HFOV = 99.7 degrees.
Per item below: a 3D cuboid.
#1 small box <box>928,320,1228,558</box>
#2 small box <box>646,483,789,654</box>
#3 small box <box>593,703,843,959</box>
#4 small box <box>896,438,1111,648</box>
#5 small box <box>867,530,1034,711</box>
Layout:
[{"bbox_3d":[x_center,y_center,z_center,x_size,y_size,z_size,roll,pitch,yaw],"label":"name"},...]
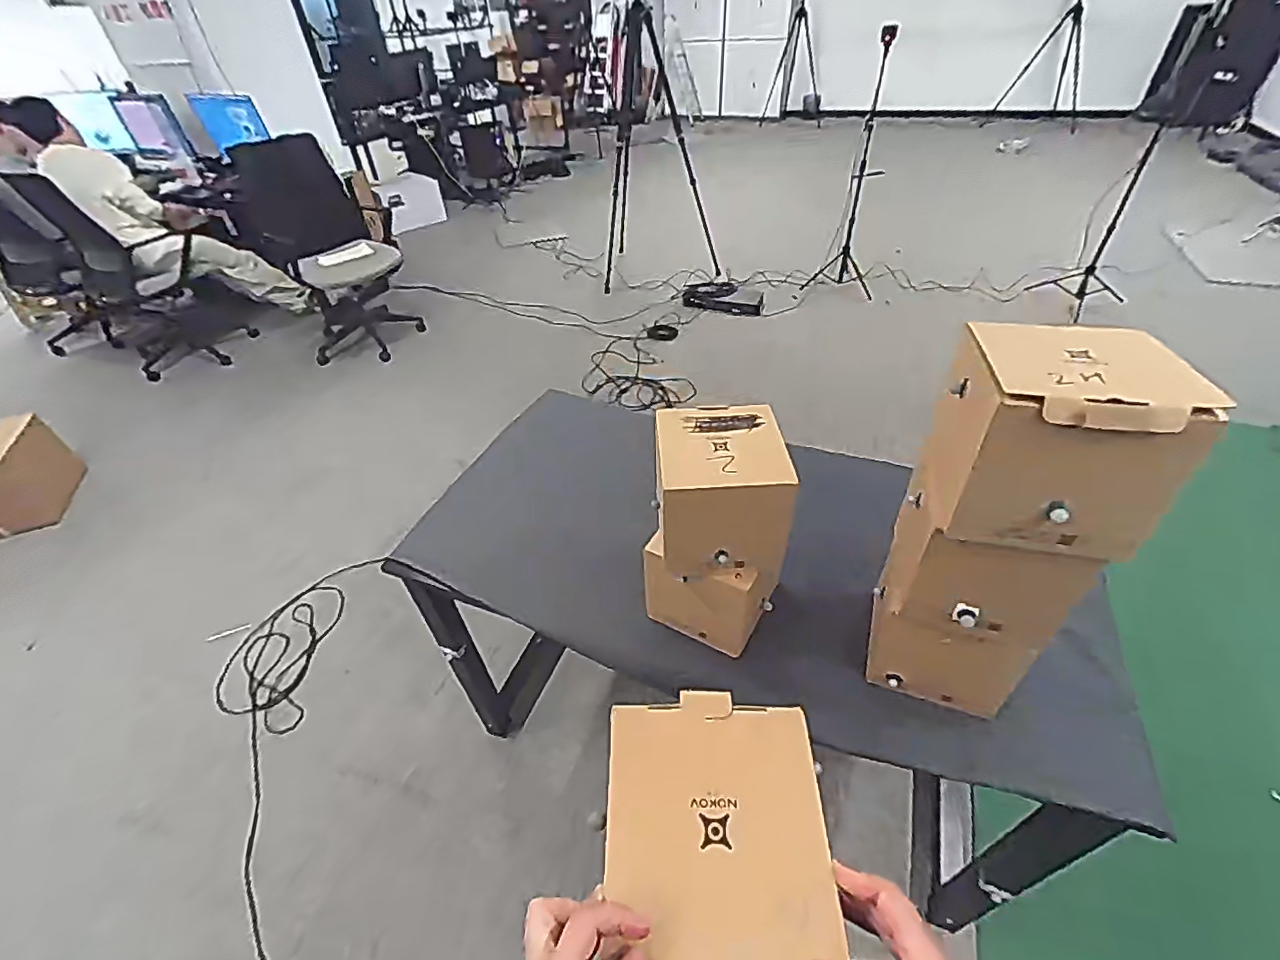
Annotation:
[{"bbox_3d":[0.413,-0.048,0.556,0.168,0.176,0.179,7,40,15],"label":"small box"},{"bbox_3d":[0.122,0.139,0.865,0.168,0.176,0.179,19,44,26],"label":"small box"},{"bbox_3d":[0.055,0.311,0.463,0.168,0.176,0.179,0,45,1],"label":"small box"},{"bbox_3d":[0.423,0.073,0.668,0.168,0.176,0.179,9,42,17],"label":"small box"},{"bbox_3d":[0.433,0.196,0.775,0.168,0.176,0.179,13,41,19],"label":"small box"}]
